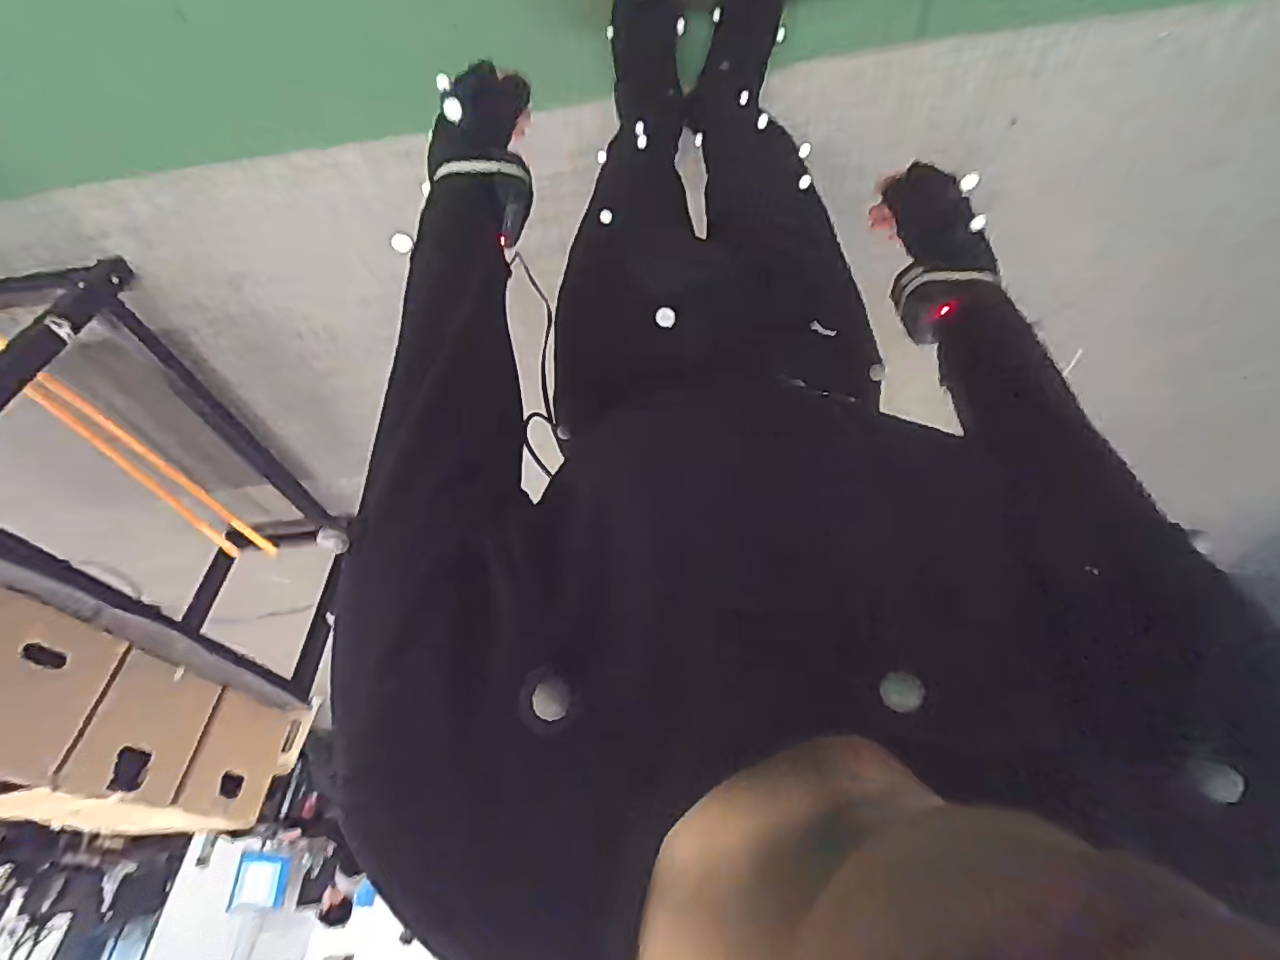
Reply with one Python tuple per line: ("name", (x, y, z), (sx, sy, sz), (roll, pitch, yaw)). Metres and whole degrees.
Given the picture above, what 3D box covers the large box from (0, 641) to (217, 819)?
("large box", (-1.390, 0.616, 1.325), (0.408, 0.320, 0.320), (-7, 141, 4))
